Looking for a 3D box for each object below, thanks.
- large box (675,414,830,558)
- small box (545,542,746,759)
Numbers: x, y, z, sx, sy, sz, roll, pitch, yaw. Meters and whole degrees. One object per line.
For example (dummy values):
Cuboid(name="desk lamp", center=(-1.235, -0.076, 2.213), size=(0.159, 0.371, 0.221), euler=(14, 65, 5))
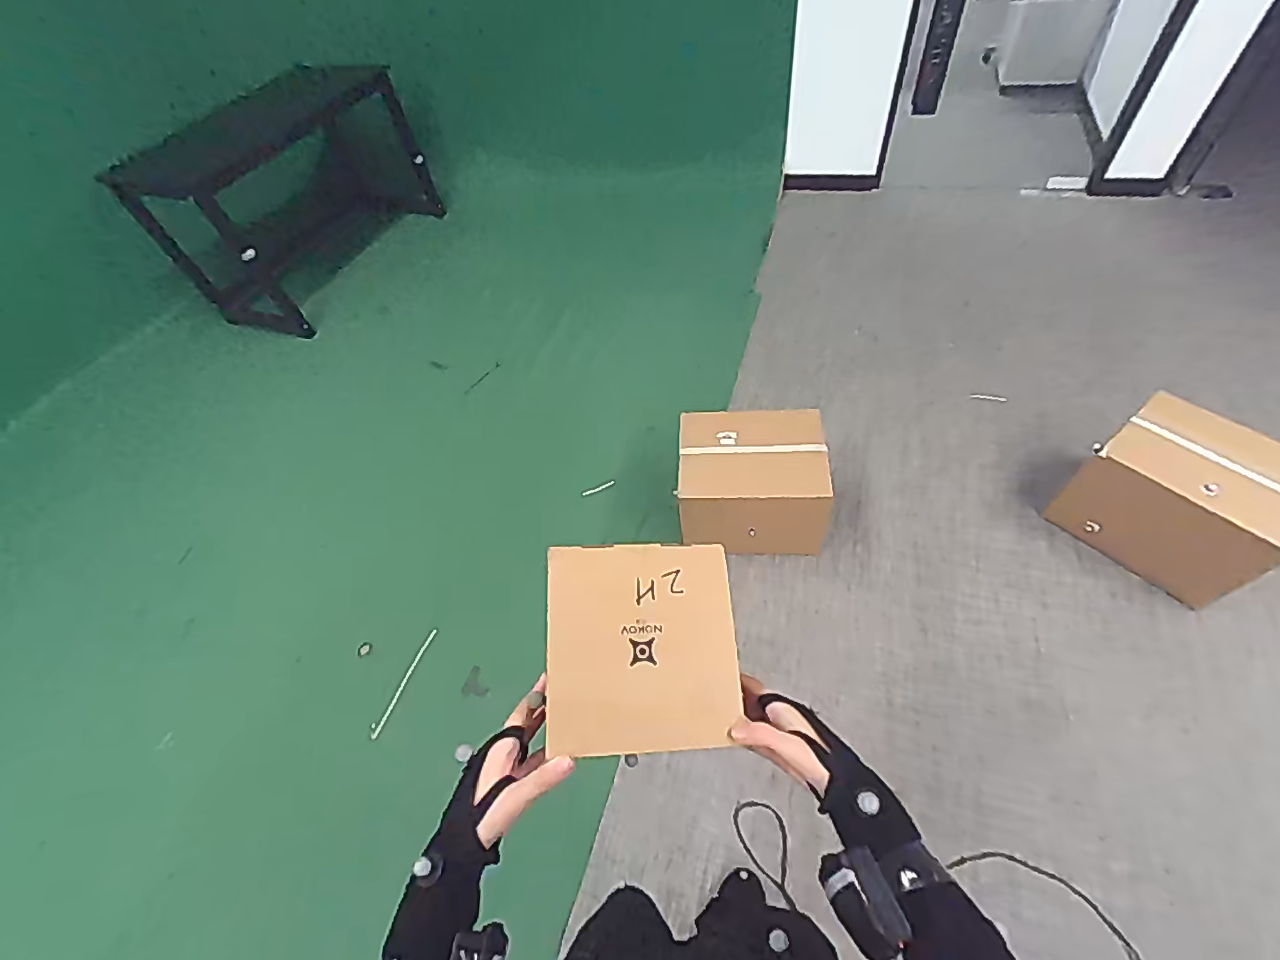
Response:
Cuboid(name="large box", center=(0.319, 0.027, 1.610), size=(0.408, 0.320, 0.320), euler=(-1, 52, 9))
Cuboid(name="small box", center=(-0.006, 0.169, 0.536), size=(0.168, 0.176, 0.179), euler=(1, 66, -9))
